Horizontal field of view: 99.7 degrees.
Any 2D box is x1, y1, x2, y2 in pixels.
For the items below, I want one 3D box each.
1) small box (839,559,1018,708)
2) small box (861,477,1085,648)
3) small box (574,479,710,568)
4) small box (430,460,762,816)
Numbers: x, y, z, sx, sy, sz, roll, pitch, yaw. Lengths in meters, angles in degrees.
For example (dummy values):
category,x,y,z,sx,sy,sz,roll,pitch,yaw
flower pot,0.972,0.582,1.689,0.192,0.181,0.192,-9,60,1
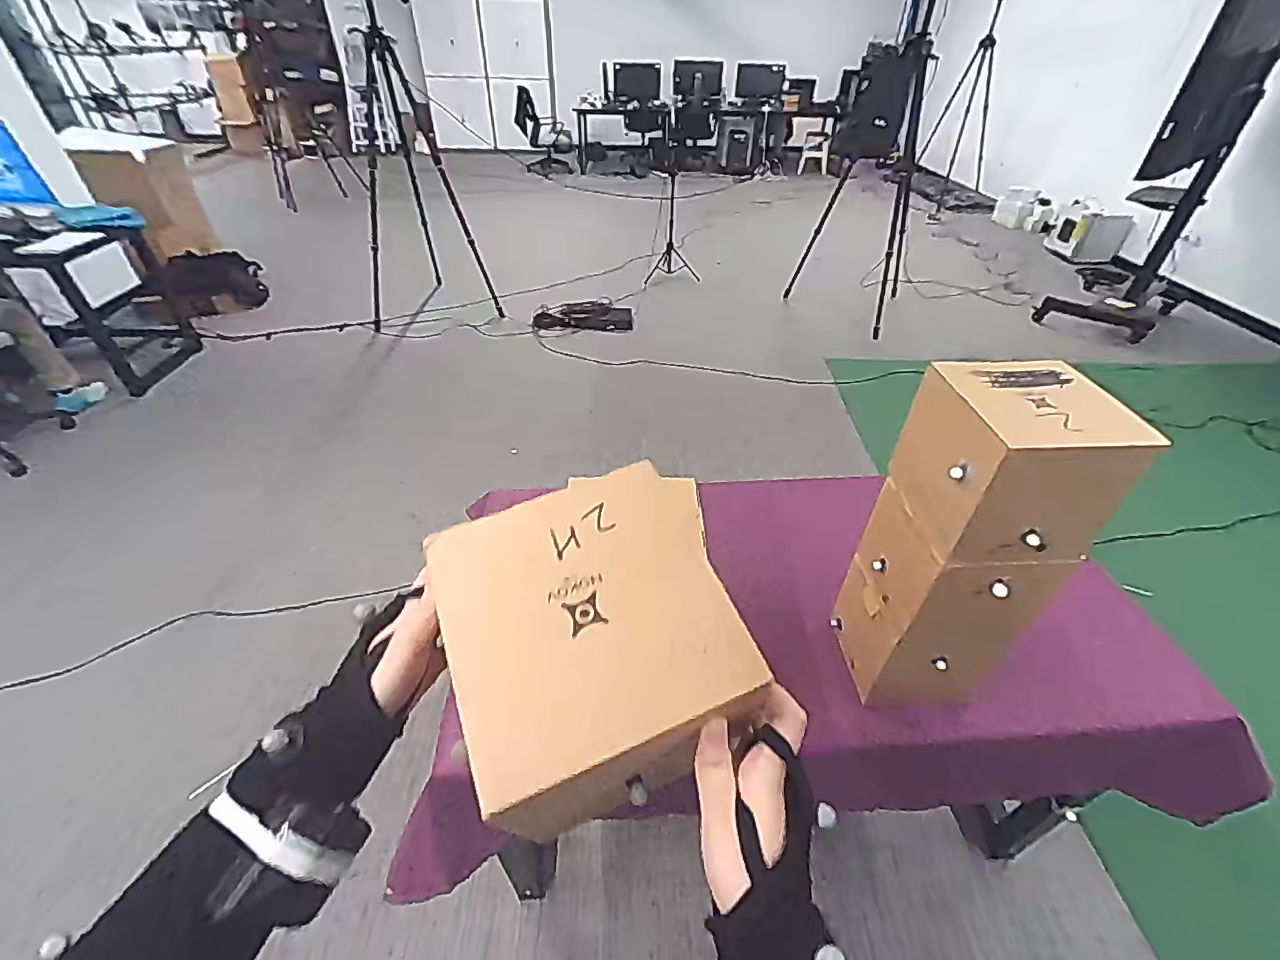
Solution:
category,x,y,z,sx,sy,sz,roll,pitch,yaw
small box,0.426,0.238,0.841,0.179,0.176,0.168,0,40,-2
small box,0.431,0.112,0.738,0.179,0.176,0.168,-2,40,-2
small box,-0.008,0.115,0.725,0.179,0.176,0.168,1,39,0
small box,-0.033,0.120,0.395,0.168,0.176,0.179,-18,54,-12
